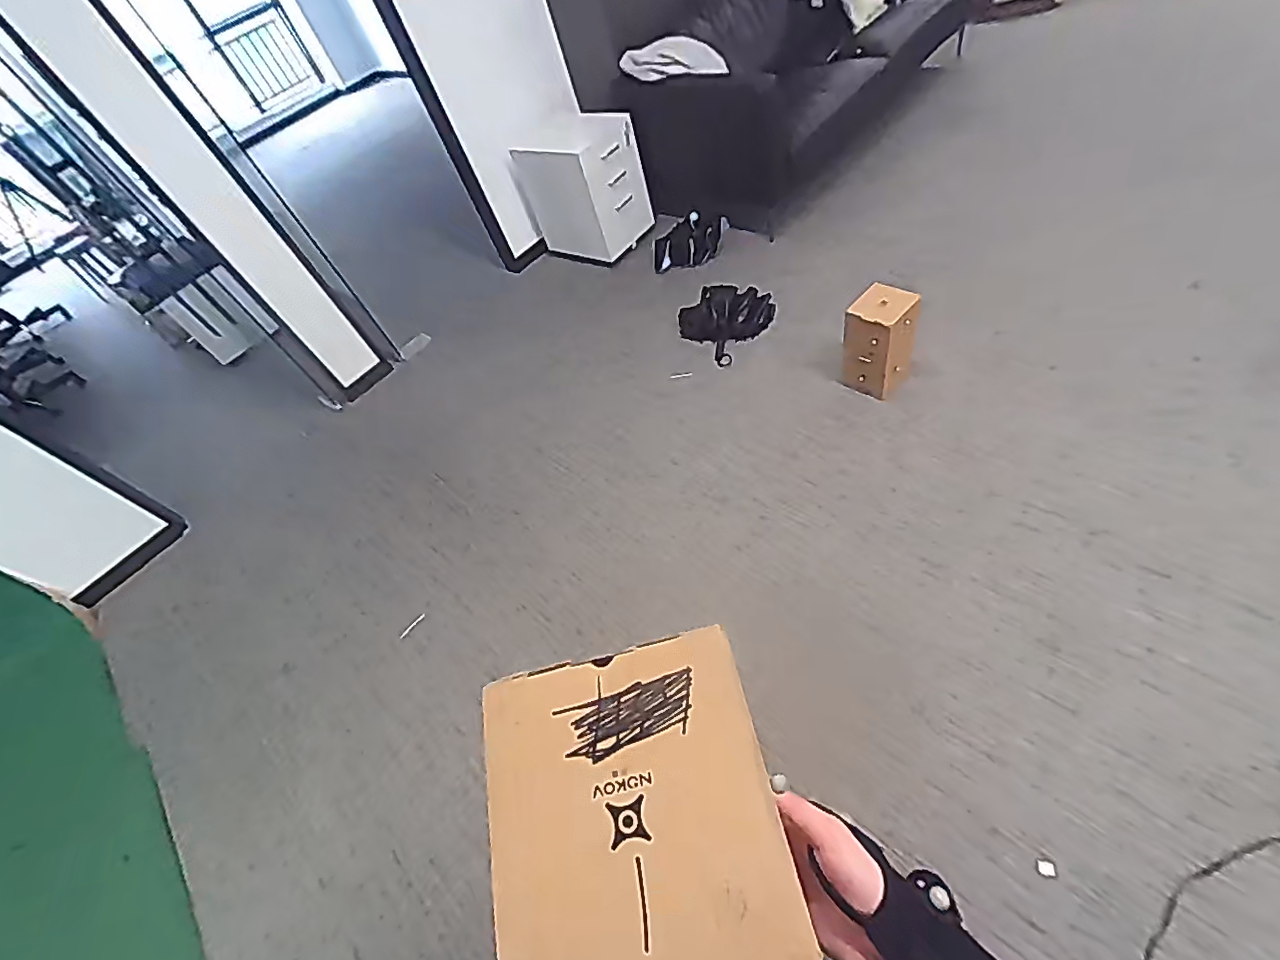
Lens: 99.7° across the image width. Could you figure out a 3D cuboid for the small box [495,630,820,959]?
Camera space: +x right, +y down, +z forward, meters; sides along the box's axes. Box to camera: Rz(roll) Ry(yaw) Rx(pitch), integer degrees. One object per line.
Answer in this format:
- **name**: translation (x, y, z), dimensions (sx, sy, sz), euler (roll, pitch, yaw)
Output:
- **small box**: translation (0.008, 0.230, 0.384), dimensions (0.168, 0.176, 0.179), euler (-14, 59, 1)
